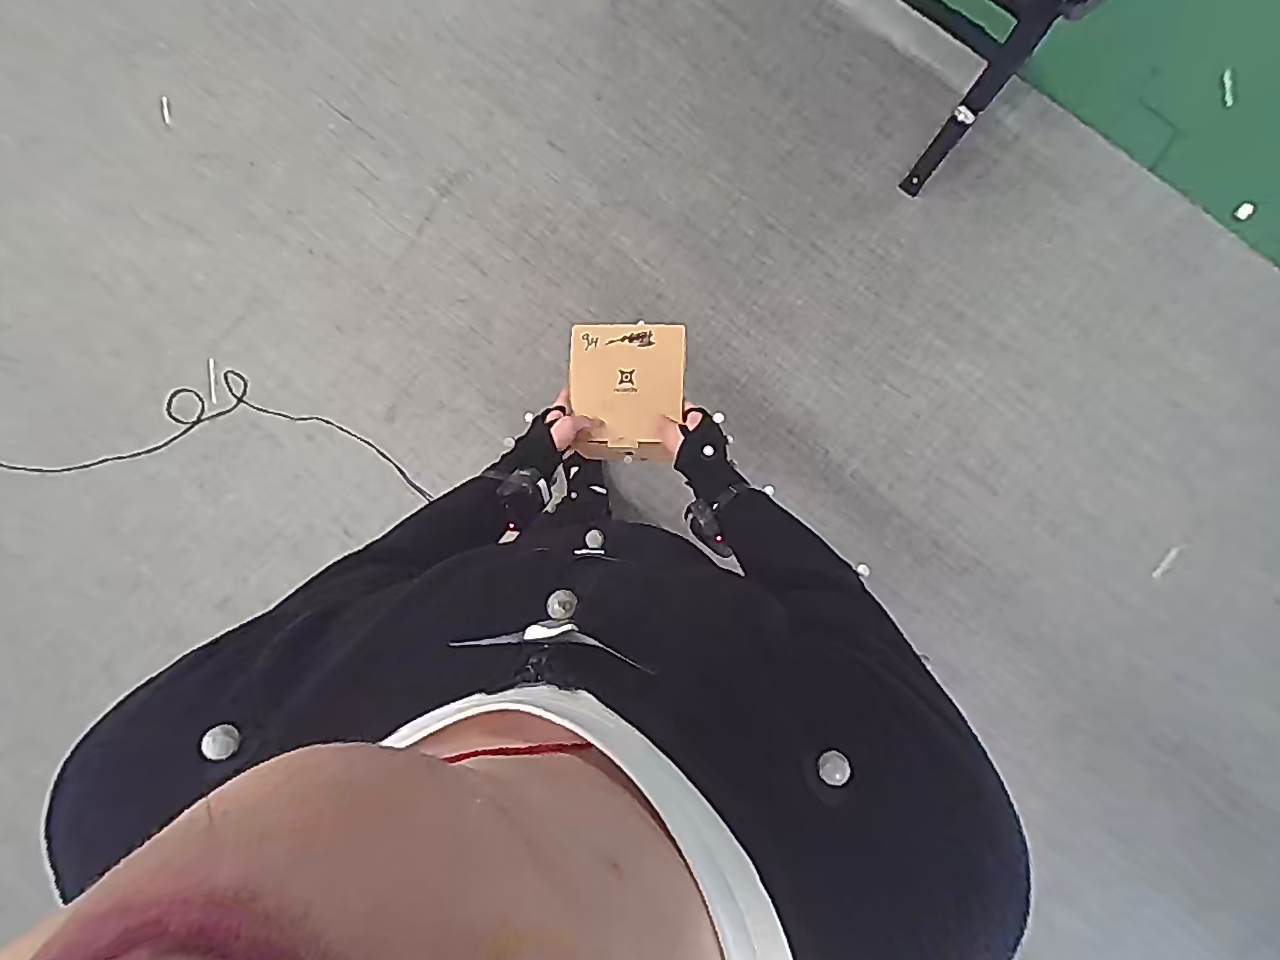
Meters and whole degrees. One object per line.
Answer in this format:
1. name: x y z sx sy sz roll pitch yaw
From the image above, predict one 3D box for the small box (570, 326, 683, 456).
1. small box: -0.014 -0.132 0.869 0.168 0.176 0.179 -2 85 4
